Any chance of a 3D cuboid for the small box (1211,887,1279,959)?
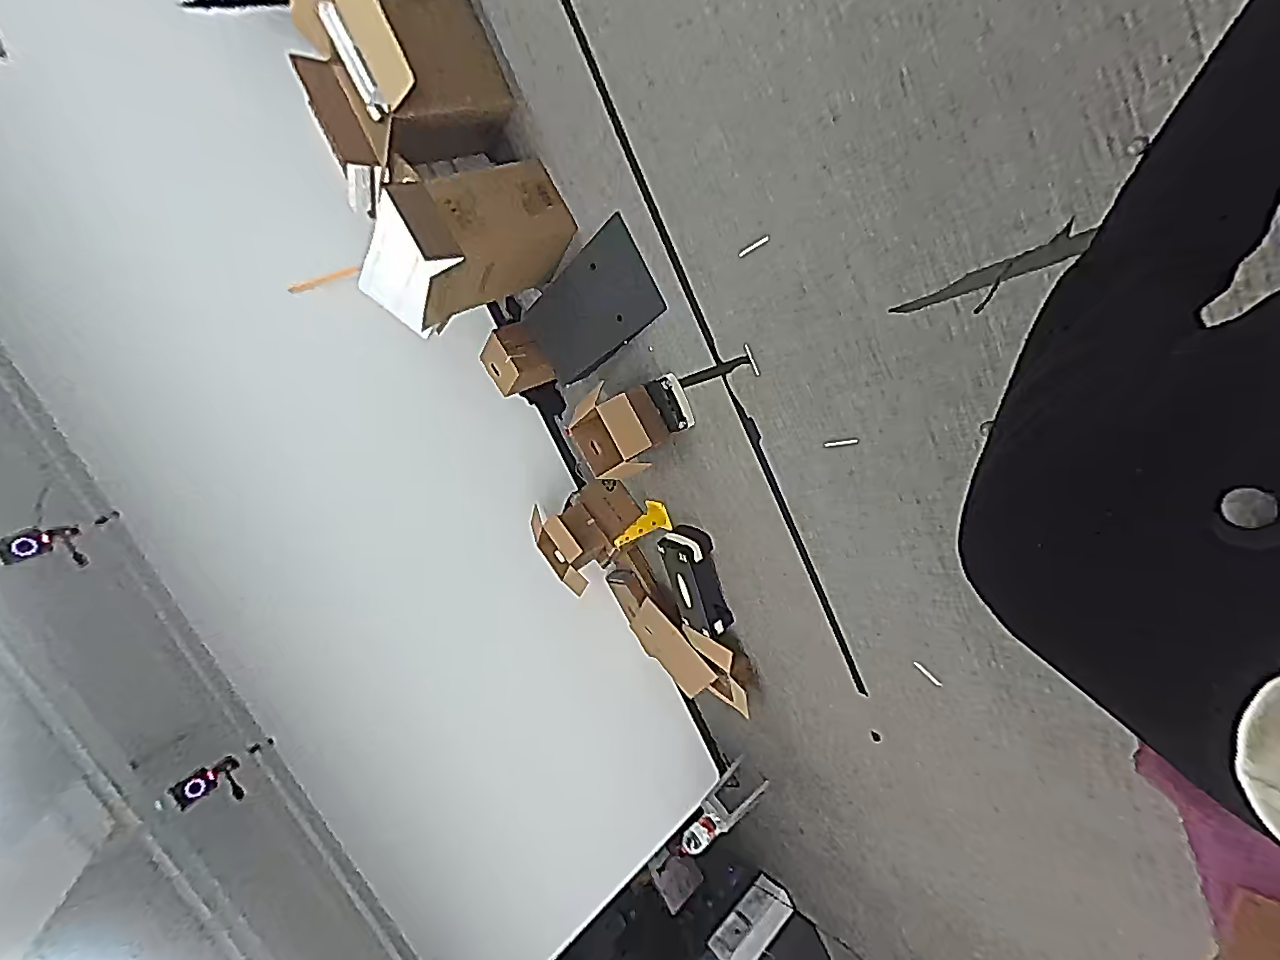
[{"bbox_3d":[1.034,0.795,0.841,0.179,0.176,0.168,-4,114,58],"label":"small box"}]
